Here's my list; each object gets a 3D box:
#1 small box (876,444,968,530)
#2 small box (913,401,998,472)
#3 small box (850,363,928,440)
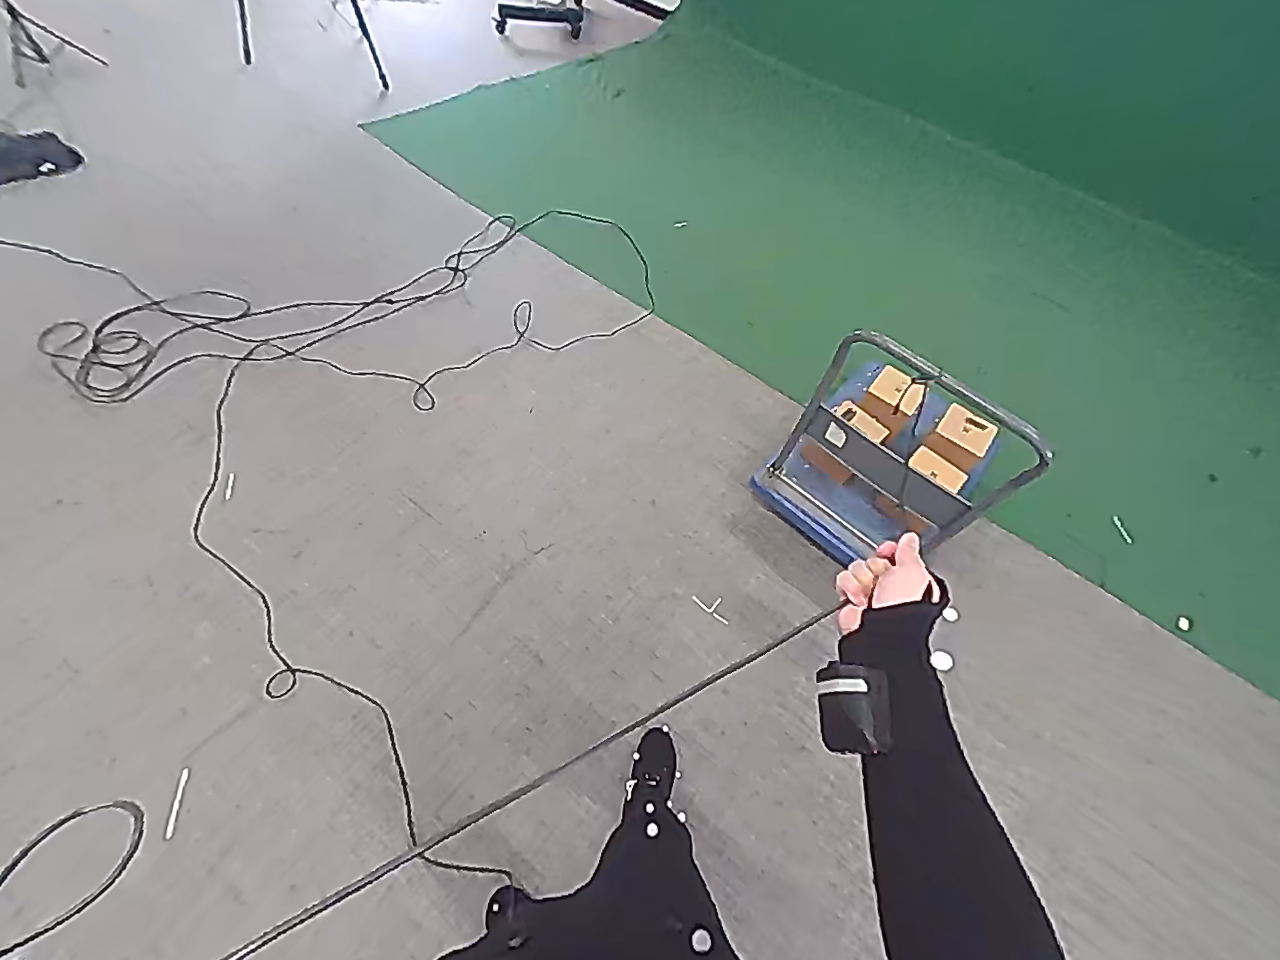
[{"bbox_3d":[0.892,0.025,1.726,0.168,0.176,0.179,41,61,18],"label":"small box"},{"bbox_3d":[1.073,-0.131,1.853,0.168,0.176,0.179,36,60,16],"label":"small box"},{"bbox_3d":[0.877,-0.273,1.920,0.168,0.176,0.179,37,60,15],"label":"small box"}]
